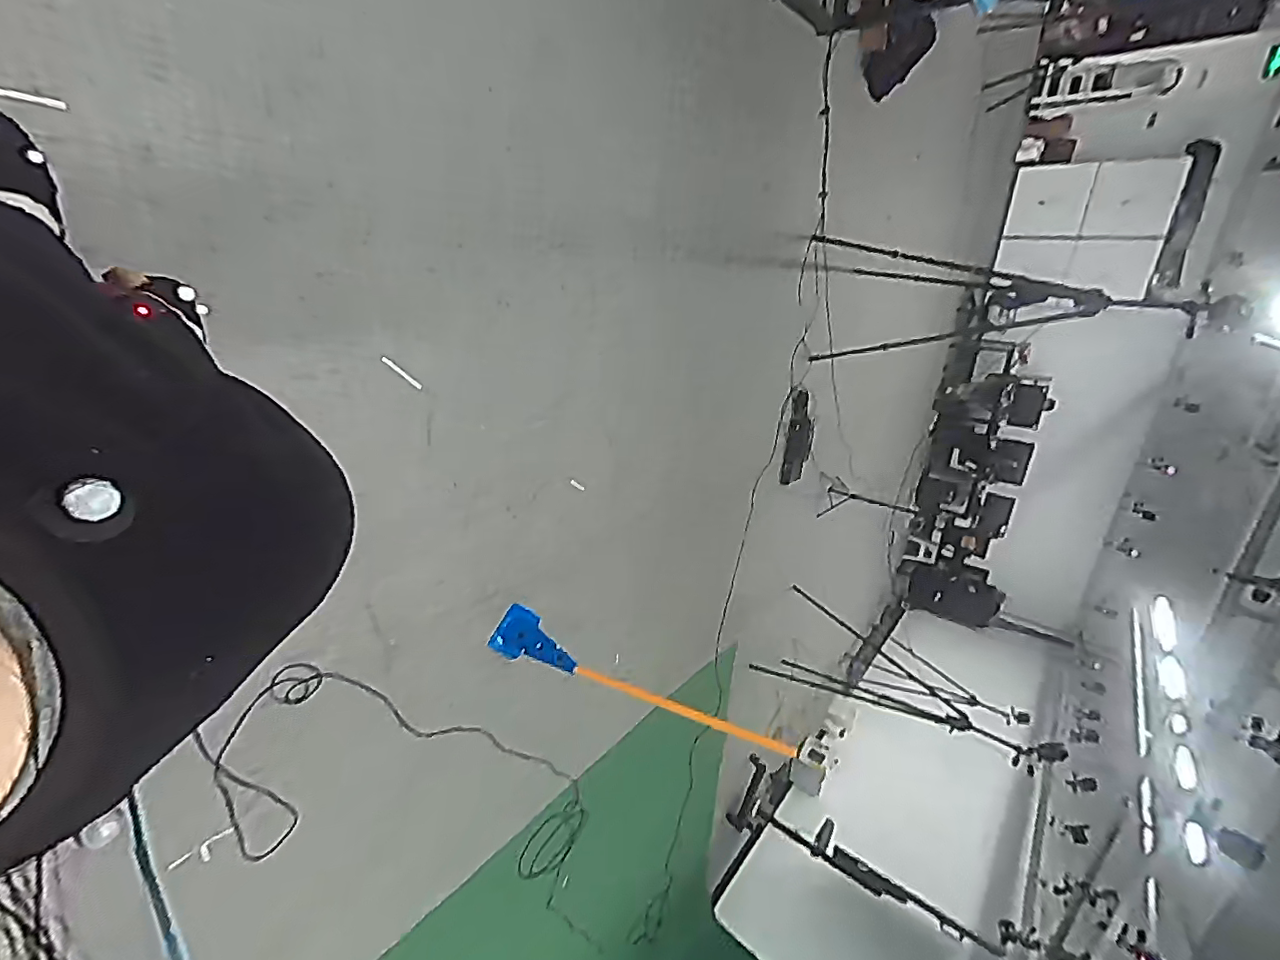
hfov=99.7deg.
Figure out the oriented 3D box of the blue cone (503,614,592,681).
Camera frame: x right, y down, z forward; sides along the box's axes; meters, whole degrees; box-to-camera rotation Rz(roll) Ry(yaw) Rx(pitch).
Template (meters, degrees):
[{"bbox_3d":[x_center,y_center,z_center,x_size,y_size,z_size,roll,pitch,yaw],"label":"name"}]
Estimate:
[{"bbox_3d":[-0.337,0.682,2.094,0.193,0.380,0.192,-61,141,-17],"label":"blue cone"}]
